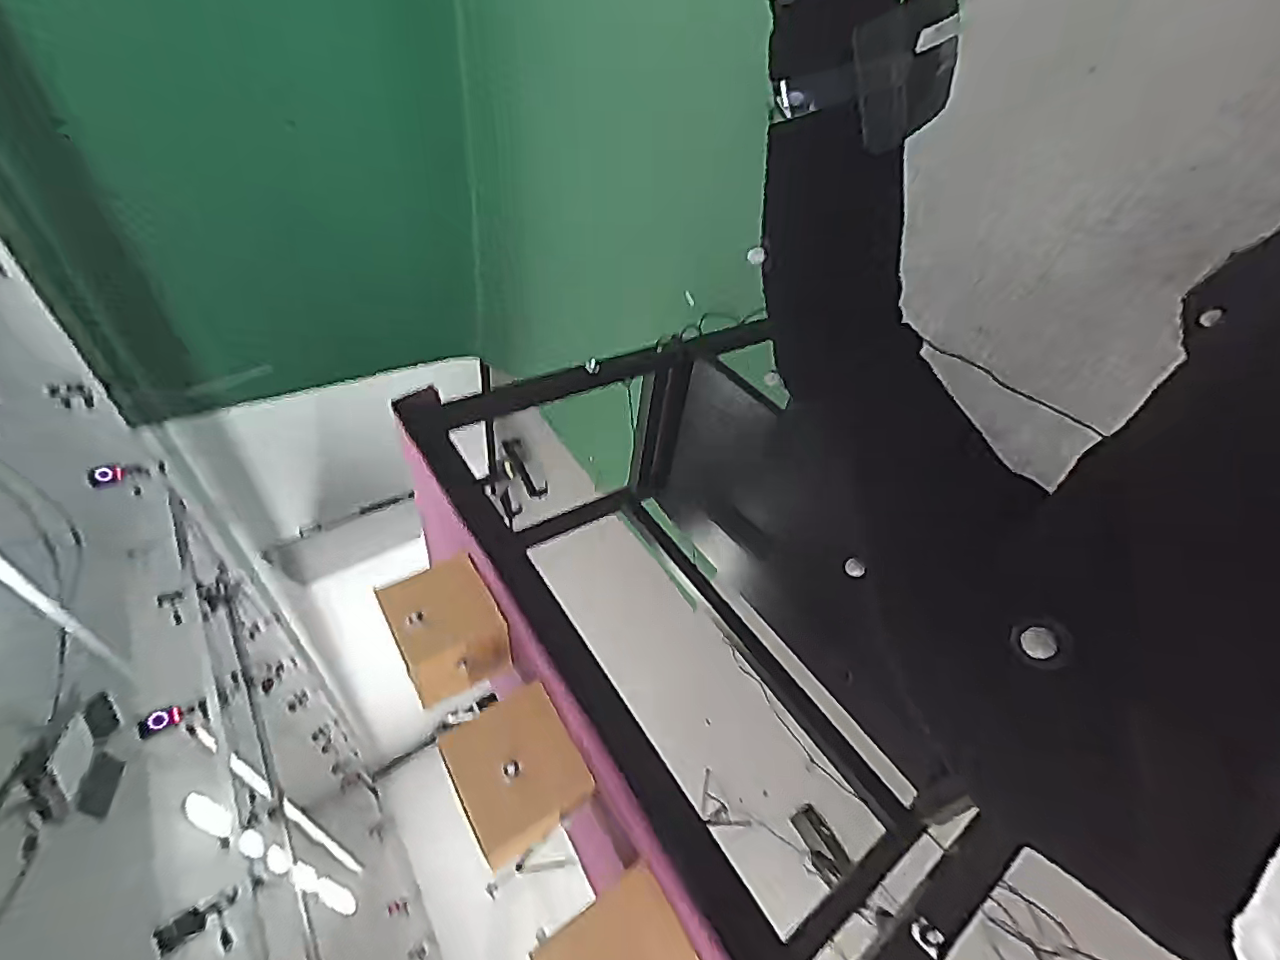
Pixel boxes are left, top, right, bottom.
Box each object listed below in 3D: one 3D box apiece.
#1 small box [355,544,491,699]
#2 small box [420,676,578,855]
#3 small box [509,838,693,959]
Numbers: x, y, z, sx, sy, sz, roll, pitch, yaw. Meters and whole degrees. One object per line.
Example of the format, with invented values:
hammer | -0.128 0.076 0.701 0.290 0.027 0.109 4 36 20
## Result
small box | -0.375 0.247 0.965 0.179 0.176 0.168 48 146 29
small box | -0.216 0.430 0.835 0.179 0.176 0.168 49 148 26
small box | -0.050 0.608 0.692 0.179 0.176 0.168 49 146 28
